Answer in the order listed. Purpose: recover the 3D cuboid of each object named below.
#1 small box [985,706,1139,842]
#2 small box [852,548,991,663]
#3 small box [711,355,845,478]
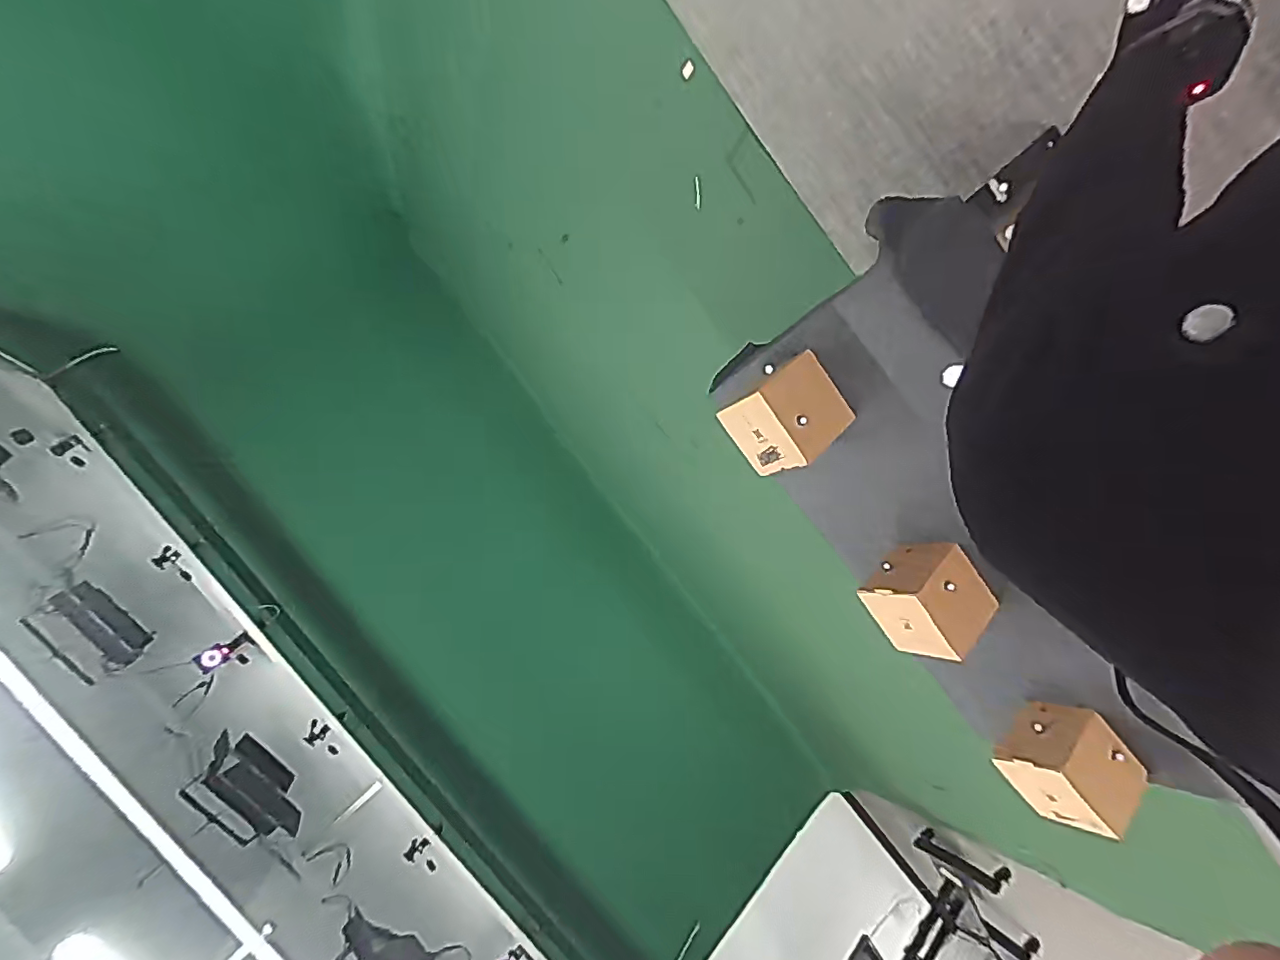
[{"bbox_3d":[0.900,0.614,1.158,0.179,0.176,0.168,51,157,2],"label":"small box"},{"bbox_3d":[0.605,0.259,1.166,0.179,0.176,0.168,52,158,-6],"label":"small box"},{"bbox_3d":[0.291,-0.131,1.137,0.179,0.176,0.168,54,157,-7],"label":"small box"}]
